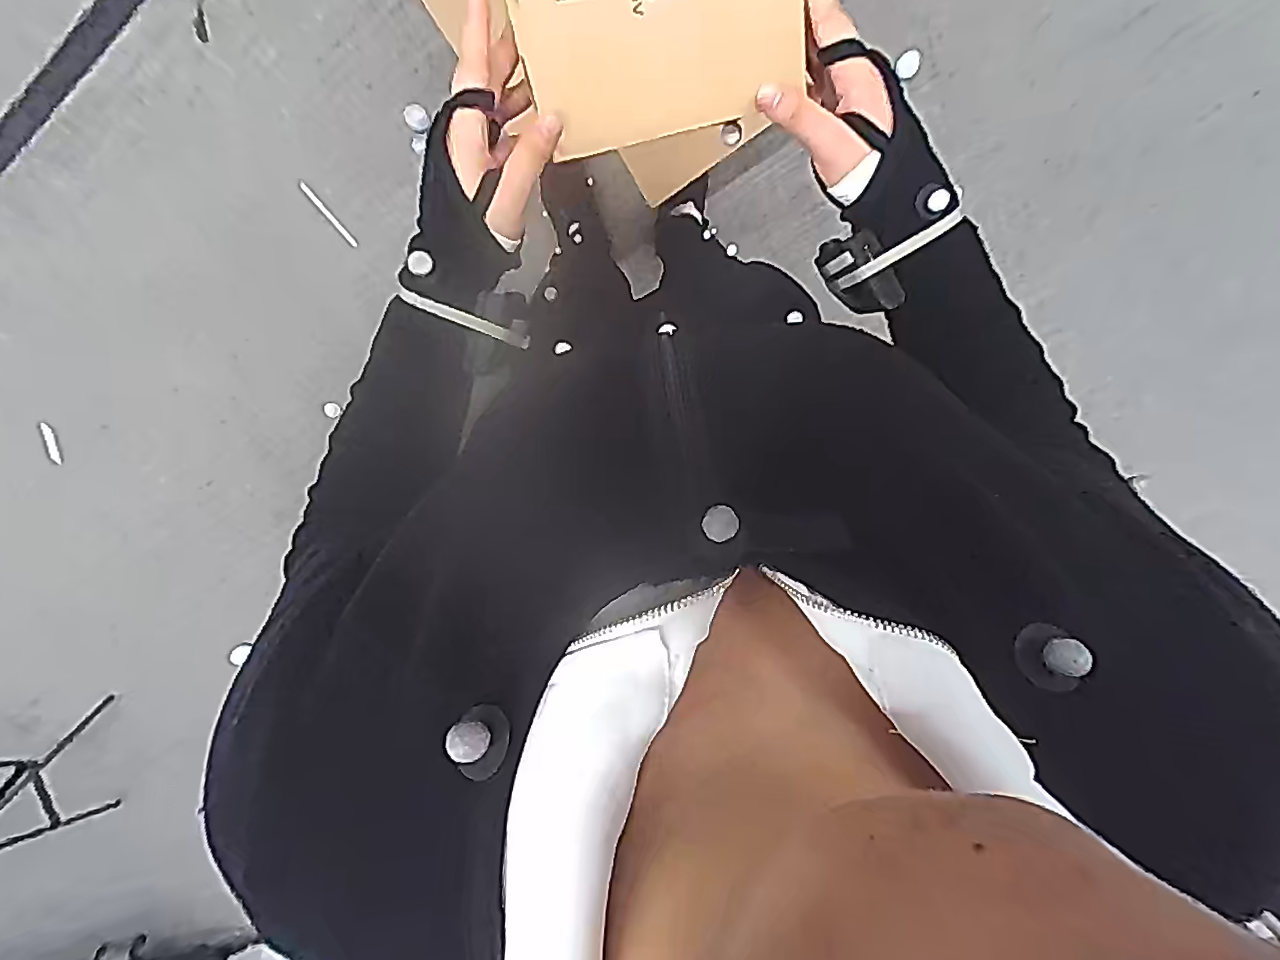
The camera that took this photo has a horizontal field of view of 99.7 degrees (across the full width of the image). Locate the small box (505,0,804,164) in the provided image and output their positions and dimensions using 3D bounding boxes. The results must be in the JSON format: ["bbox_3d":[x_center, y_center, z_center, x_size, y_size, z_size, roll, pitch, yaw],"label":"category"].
[{"bbox_3d":[0.005,-0.342,0.380,0.179,0.176,0.168,-10,124,8],"label":"small box"}]
